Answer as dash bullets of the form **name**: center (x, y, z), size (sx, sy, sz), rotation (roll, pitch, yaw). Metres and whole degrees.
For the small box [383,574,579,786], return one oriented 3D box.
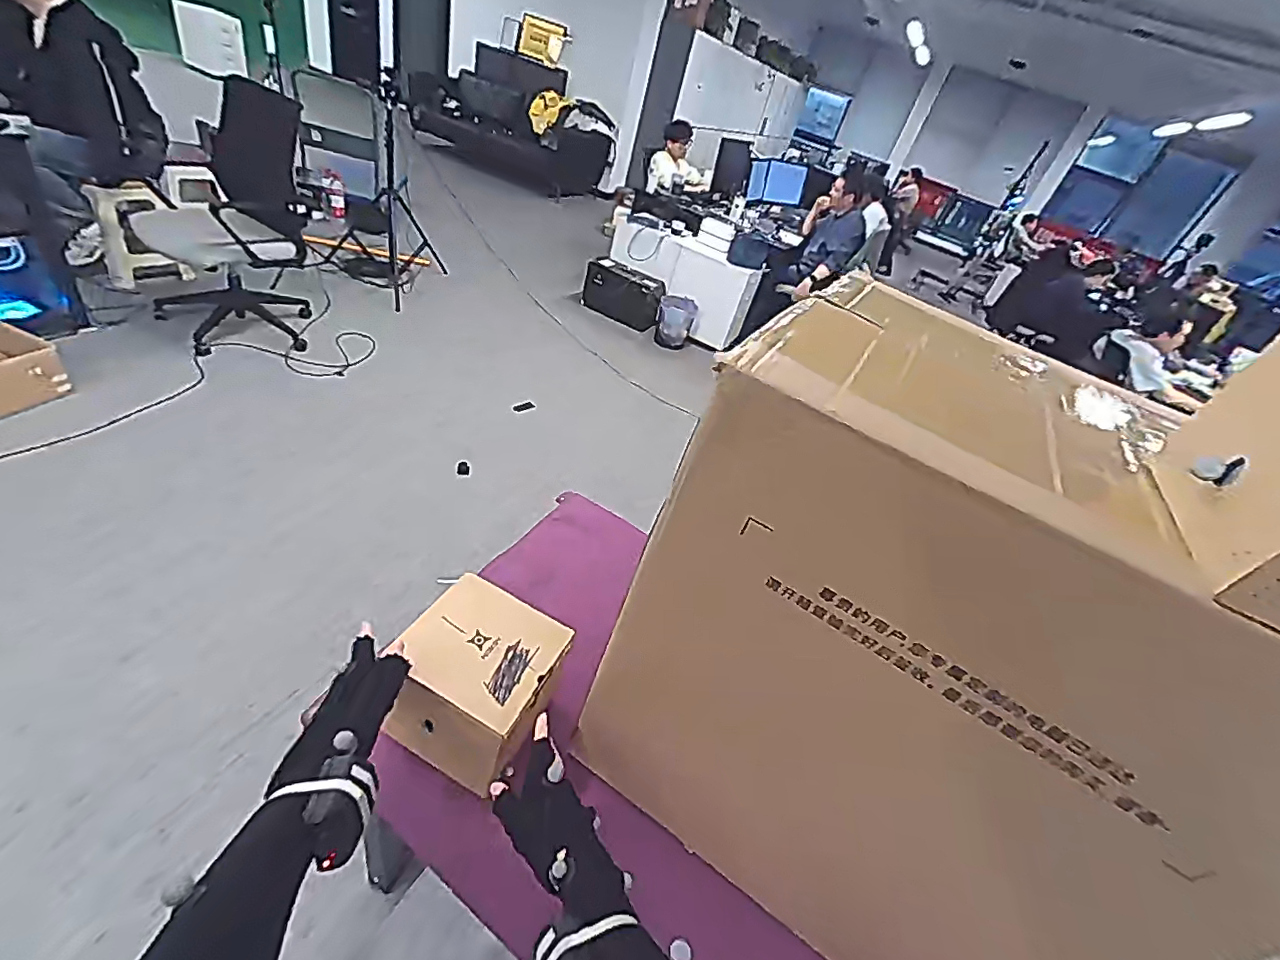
- **small box**: center (-0.208, 0.264, 0.710), size (0.179, 0.176, 0.168), rotation (27, 36, 9)

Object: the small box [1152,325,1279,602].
- **small box**: center (0.441, -0.002, 0.290), size (0.168, 0.176, 0.179), rotation (29, 40, 14)
